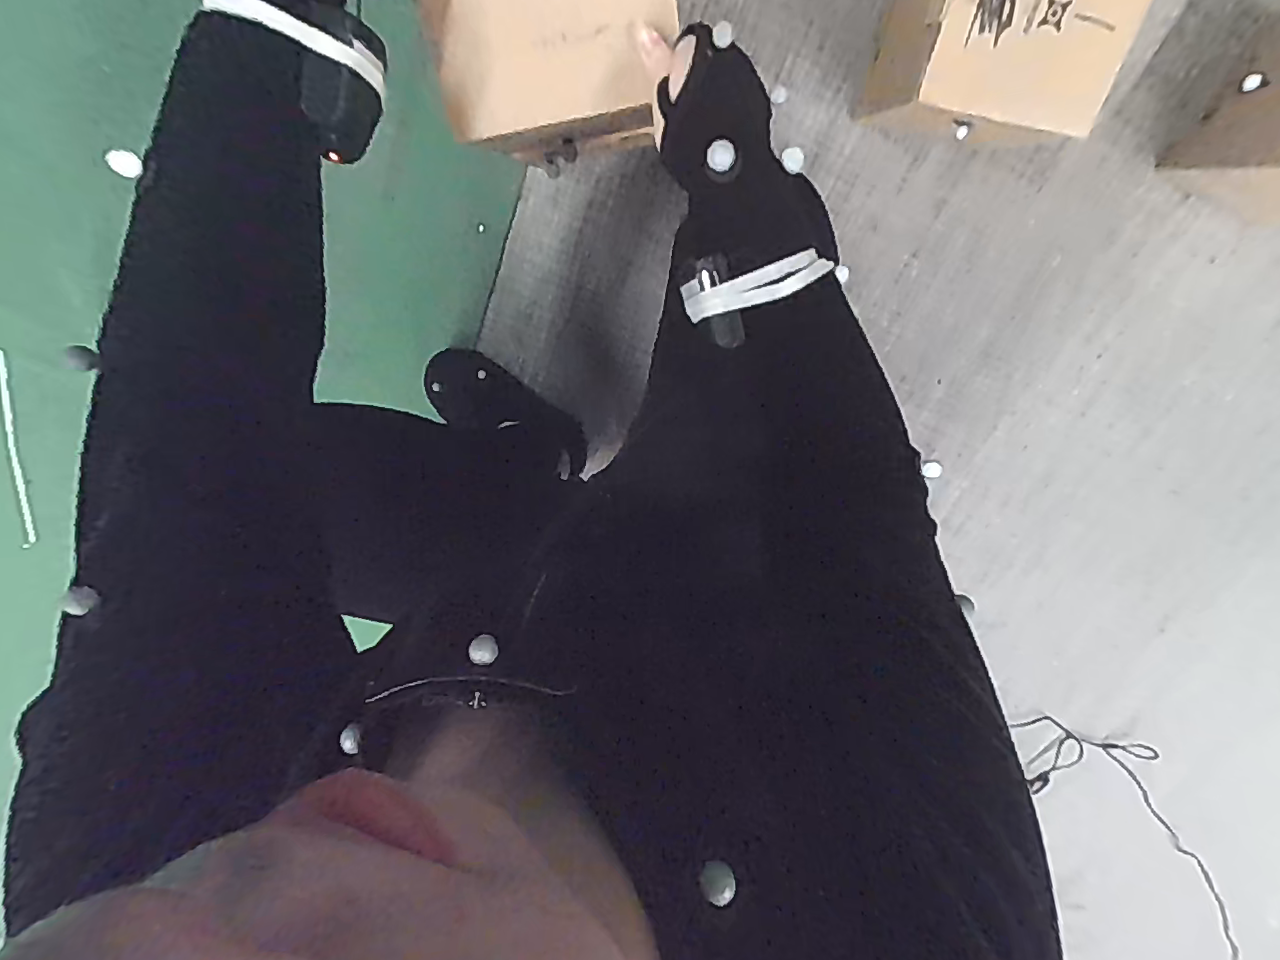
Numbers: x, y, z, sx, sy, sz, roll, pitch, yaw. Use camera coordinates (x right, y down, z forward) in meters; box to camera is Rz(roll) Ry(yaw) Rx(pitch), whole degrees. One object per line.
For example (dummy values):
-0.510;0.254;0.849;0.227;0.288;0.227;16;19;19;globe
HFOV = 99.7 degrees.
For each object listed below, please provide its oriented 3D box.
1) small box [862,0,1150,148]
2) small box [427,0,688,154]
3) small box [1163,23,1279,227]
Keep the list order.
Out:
0.353;-0.445;0.543;0.179;0.176;0.168;9;118;-5;small box
-0.059;-0.365;0.410;0.168;0.176;0.179;-8;118;5;small box
0.745;-0.379;0.575;0.179;0.176;0.168;20;116;-10;small box
